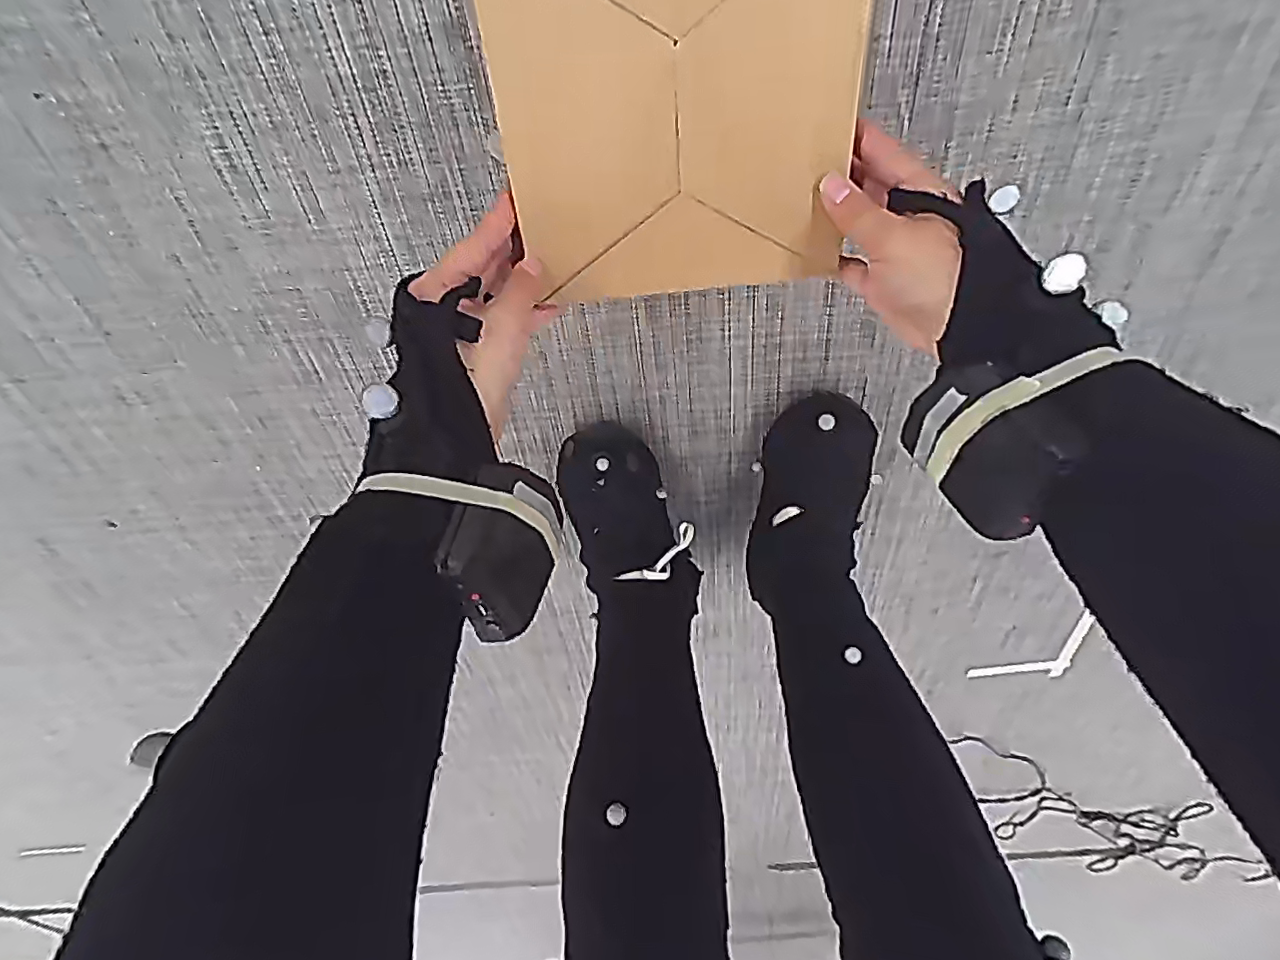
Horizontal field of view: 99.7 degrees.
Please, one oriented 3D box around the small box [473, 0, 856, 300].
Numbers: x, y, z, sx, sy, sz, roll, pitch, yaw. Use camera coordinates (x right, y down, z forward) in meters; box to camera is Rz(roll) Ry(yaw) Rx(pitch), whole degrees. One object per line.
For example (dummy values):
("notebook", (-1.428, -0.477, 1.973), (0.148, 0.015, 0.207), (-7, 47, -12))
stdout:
("small box", (0.017, -0.221, 0.329), (0.179, 0.176, 0.168), (-5, 127, 1))
